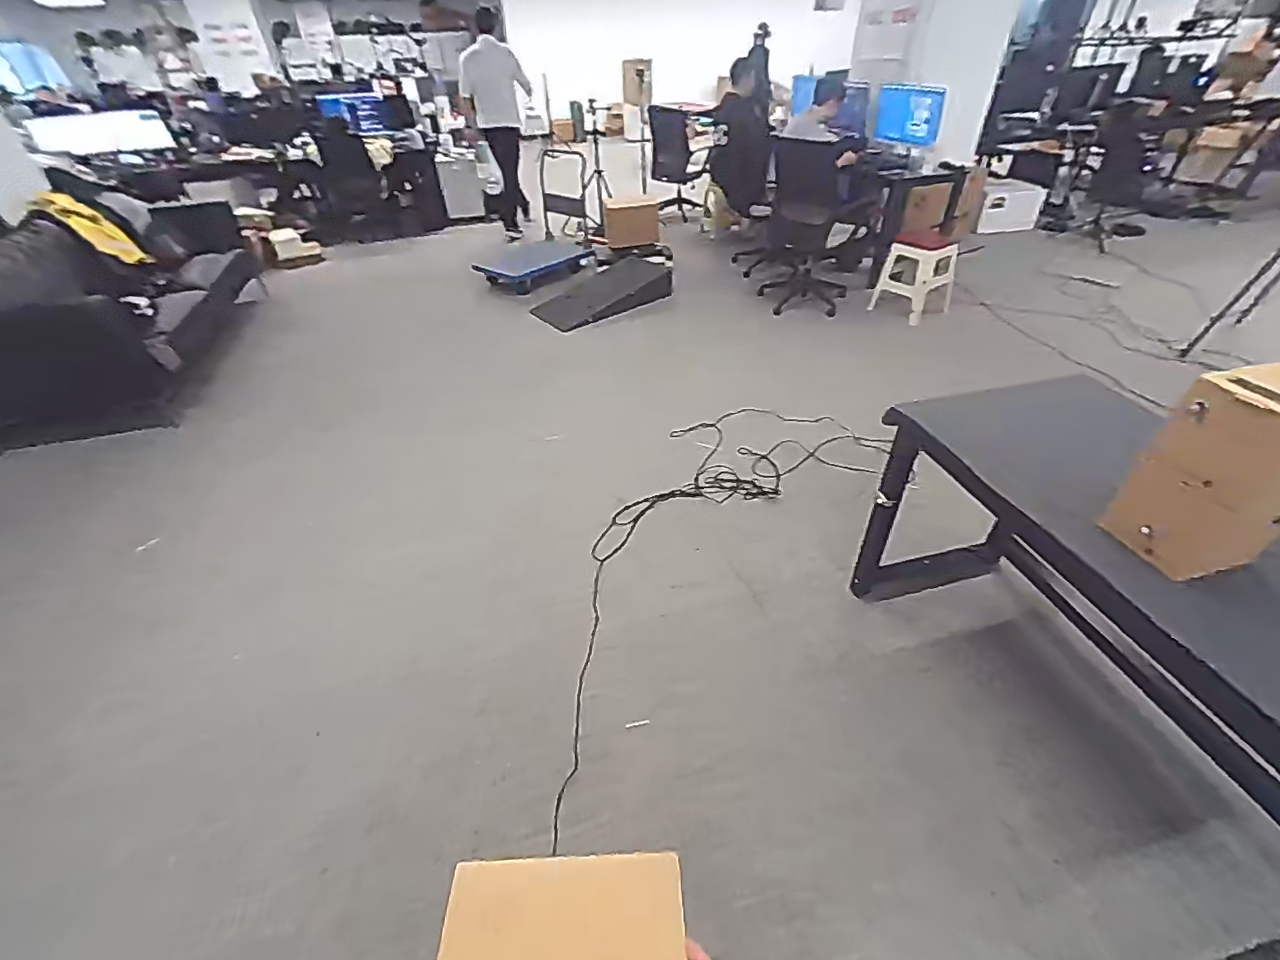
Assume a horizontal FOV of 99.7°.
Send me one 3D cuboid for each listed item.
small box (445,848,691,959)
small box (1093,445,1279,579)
[{"bbox_3d":[-0.049,0.395,0.382,0.168,0.176,0.179,-1,35,-3],"label":"small box"},{"bbox_3d":[1.012,0.060,1.005,0.179,0.176,0.168,-10,40,-11],"label":"small box"}]
